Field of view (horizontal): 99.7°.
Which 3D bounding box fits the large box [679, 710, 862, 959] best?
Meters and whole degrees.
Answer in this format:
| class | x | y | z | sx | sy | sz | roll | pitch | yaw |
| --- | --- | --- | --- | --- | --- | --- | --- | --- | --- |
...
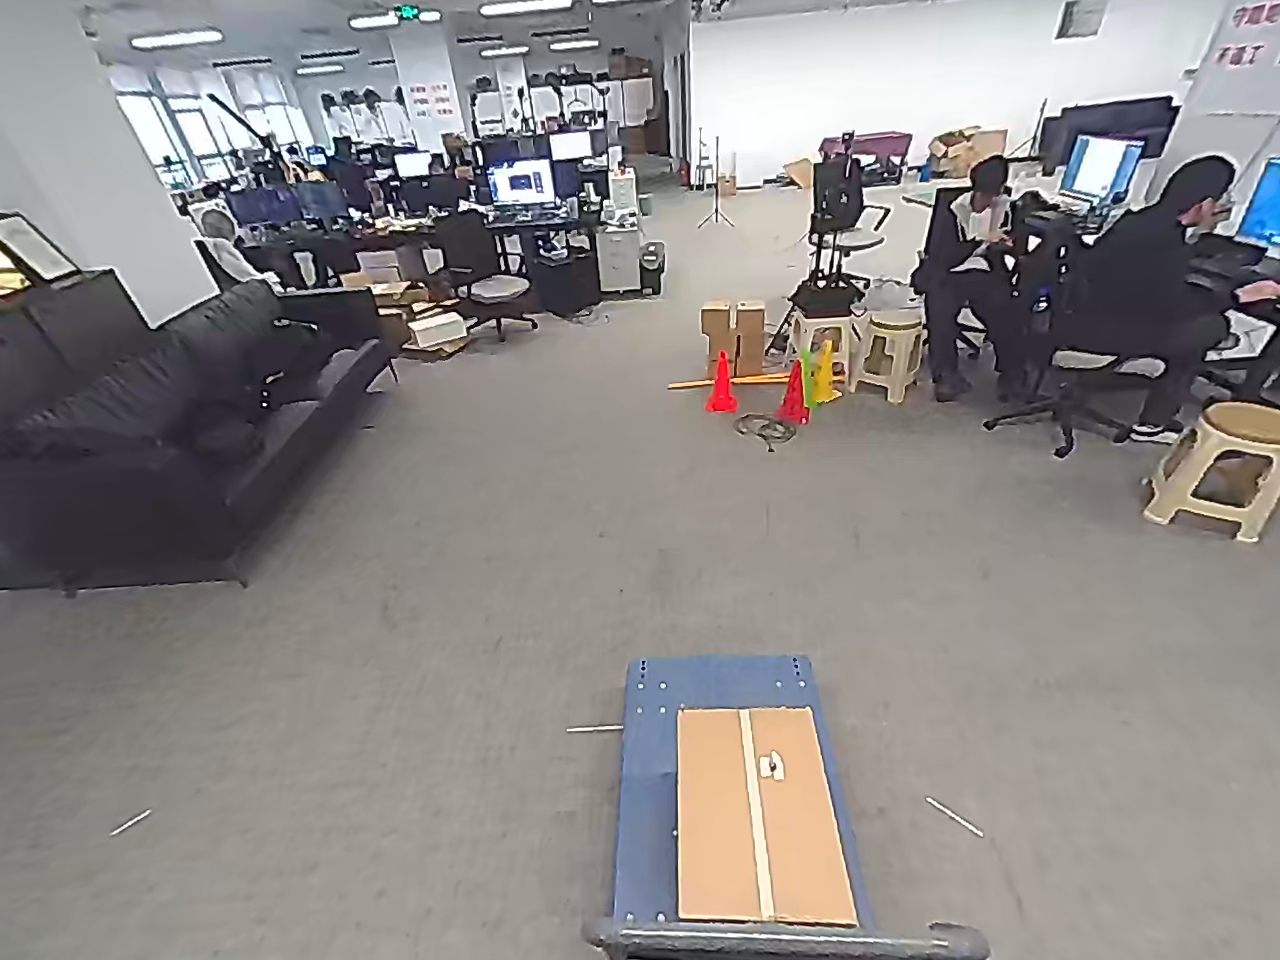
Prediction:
| class | x | y | z | sx | sy | sz | roll | pitch | yaw |
| --- | --- | --- | --- | --- | --- | --- | --- | --- | --- |
| large box | 0.250 | 0.773 | 1.180 | 0.320 | 0.320 | 0.408 | -2 | 35 | 5 |
